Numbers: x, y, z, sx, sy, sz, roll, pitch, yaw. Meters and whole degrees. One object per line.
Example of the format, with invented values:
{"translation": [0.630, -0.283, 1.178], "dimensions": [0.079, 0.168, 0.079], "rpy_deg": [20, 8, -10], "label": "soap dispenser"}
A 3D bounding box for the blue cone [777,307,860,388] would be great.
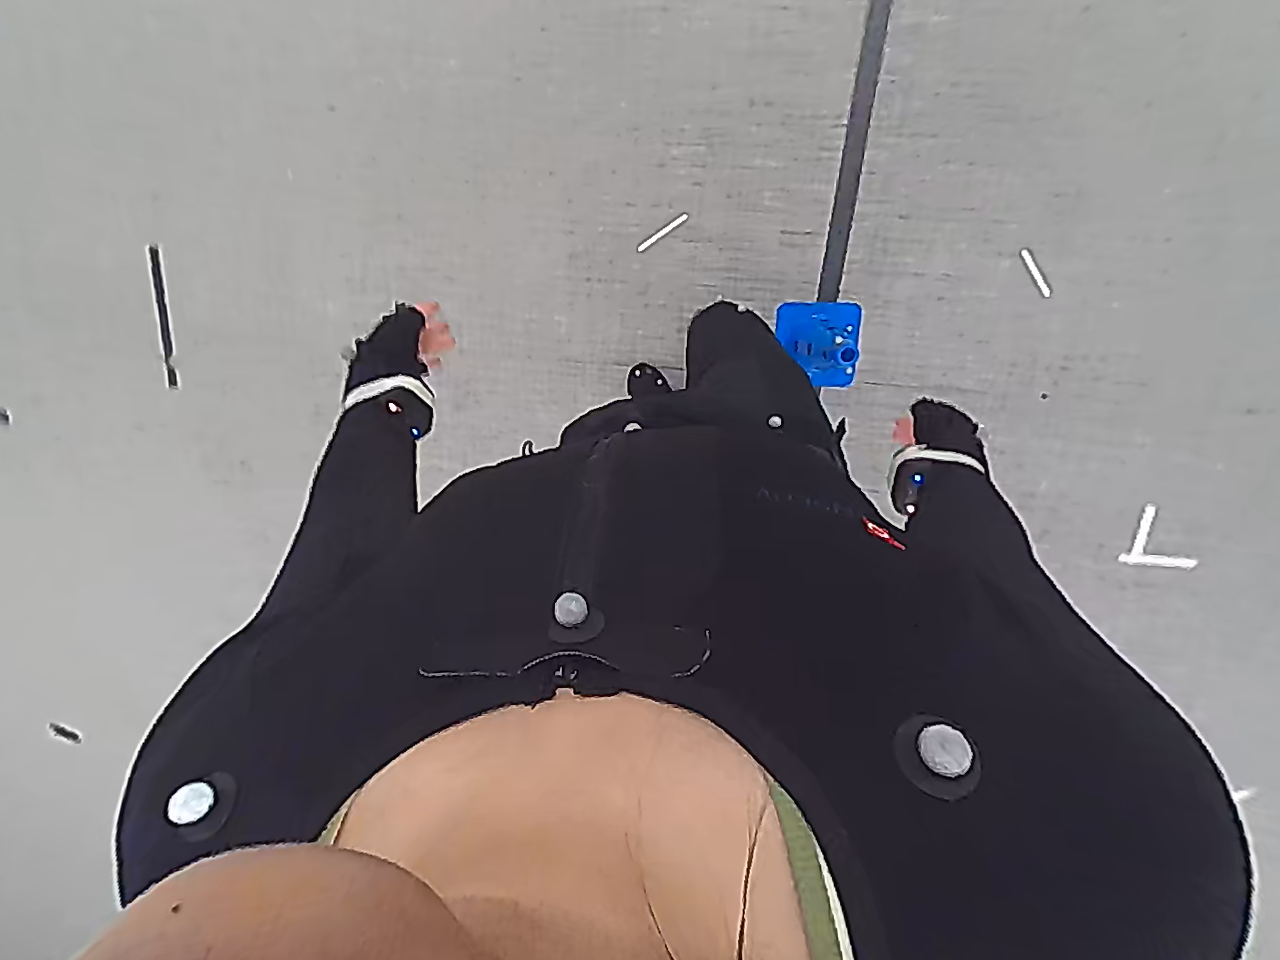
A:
{"translation": [0.410, -0.271, 1.160], "dimensions": [0.192, 0.380, 0.193], "rpy_deg": [1, 108, 8], "label": "blue cone"}
